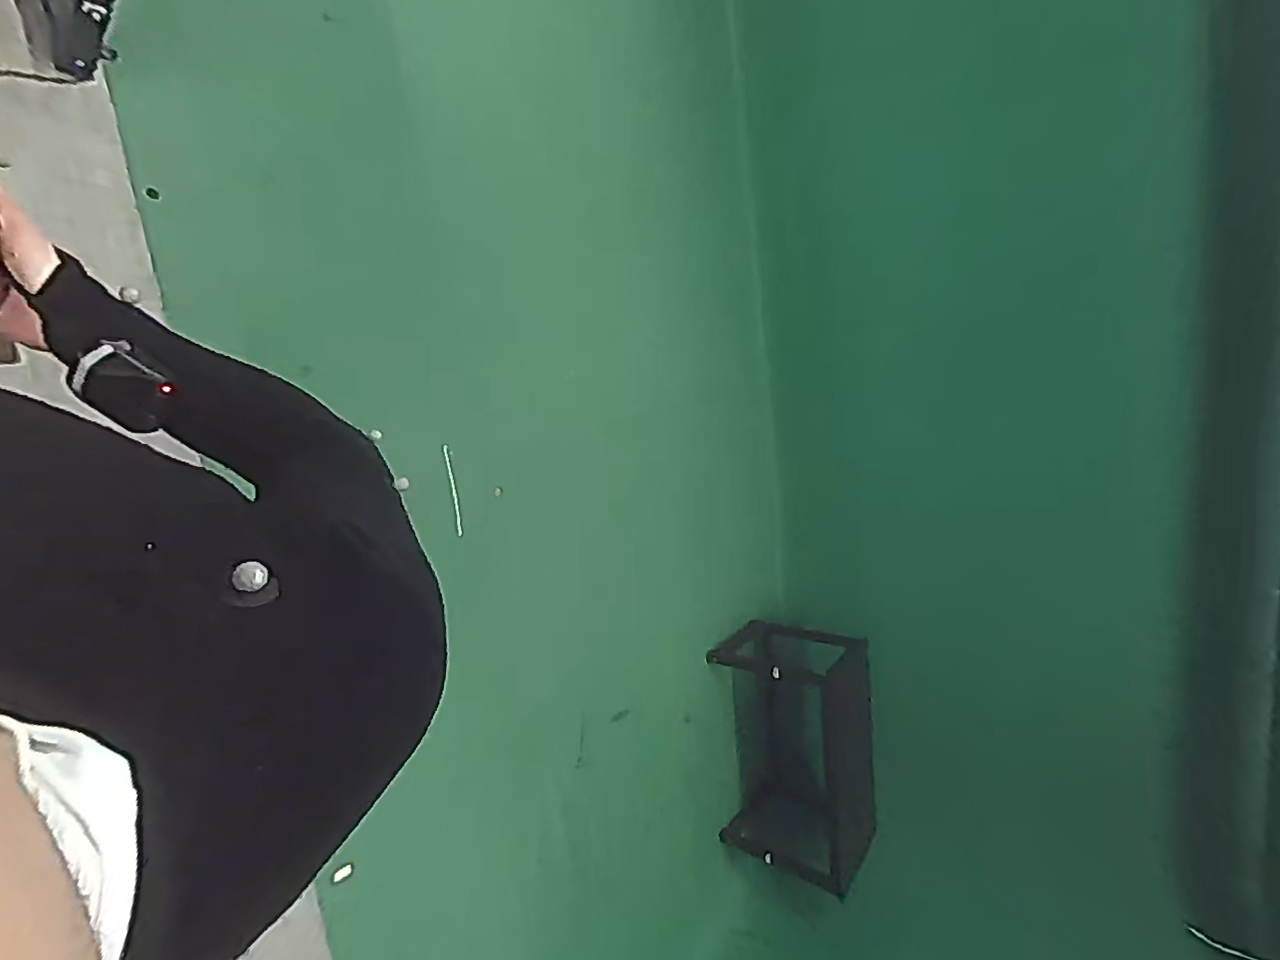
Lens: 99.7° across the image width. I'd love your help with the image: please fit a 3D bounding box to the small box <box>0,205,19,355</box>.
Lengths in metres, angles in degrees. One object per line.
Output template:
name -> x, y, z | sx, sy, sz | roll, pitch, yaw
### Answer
small box -> -0.710, -0.229, 0.497 | 0.168, 0.176, 0.179 | -8, 88, -46
